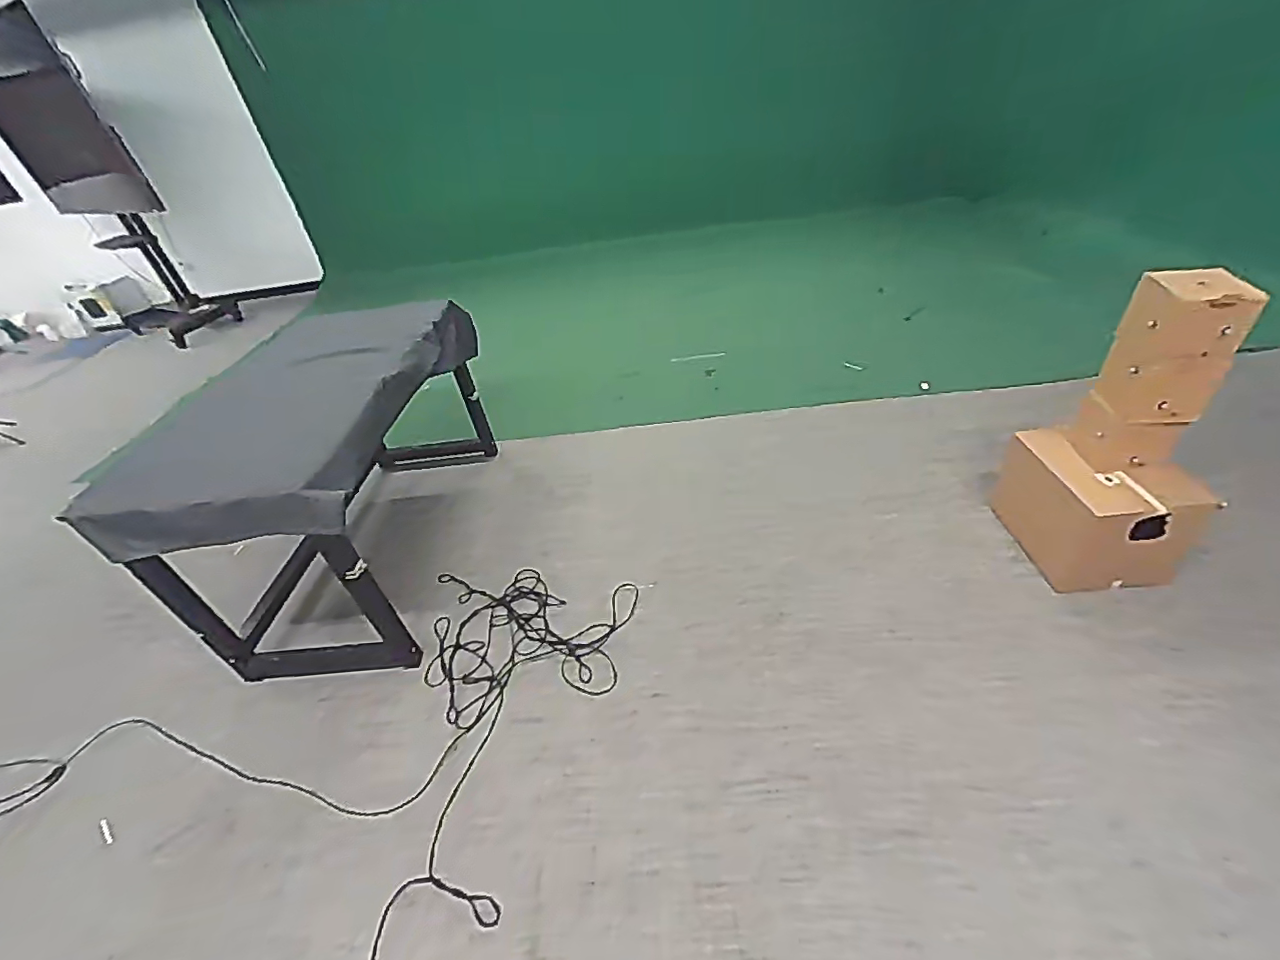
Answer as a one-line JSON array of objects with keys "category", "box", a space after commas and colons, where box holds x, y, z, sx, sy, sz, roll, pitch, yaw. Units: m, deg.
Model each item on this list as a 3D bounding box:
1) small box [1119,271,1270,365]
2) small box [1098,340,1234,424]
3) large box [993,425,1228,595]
[{"category": "small box", "box": [1.323, -0.388, 1.307, 0.168, 0.176, 0.179, 2, 40, 12]}, {"category": "small box", "box": [1.350, -0.262, 1.407, 0.168, 0.176, 0.179, 1, 40, 12]}, {"category": "large box", "box": [1.359, 0.084, 1.628, 0.320, 0.320, 0.408, -7, 39, 5]}]
